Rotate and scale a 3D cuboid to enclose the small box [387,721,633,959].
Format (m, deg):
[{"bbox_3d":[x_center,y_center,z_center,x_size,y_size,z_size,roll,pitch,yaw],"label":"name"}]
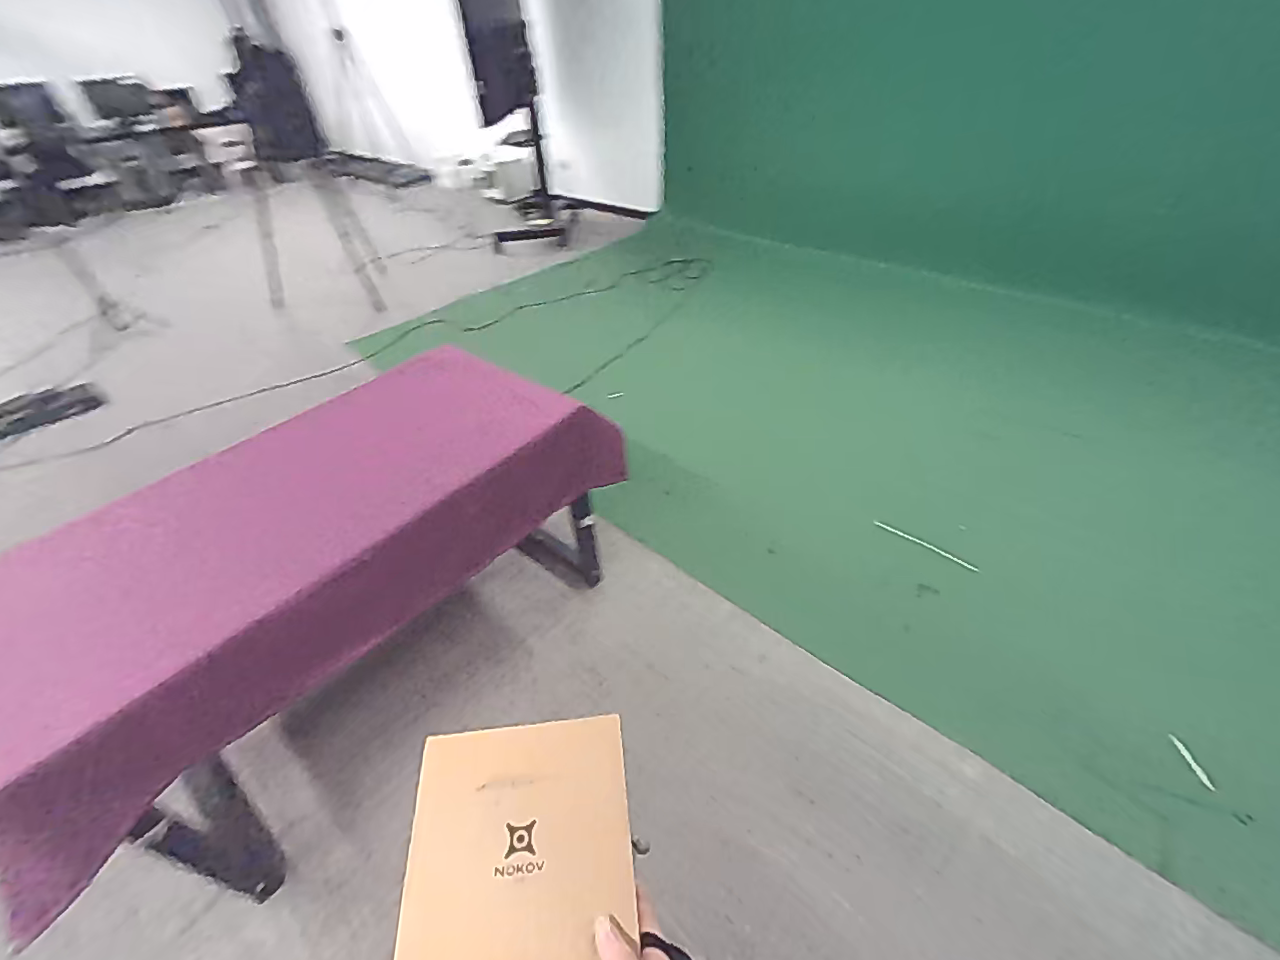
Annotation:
[{"bbox_3d":[-0.095,0.332,0.461,0.168,0.176,0.179,-4,46,-5],"label":"small box"}]
